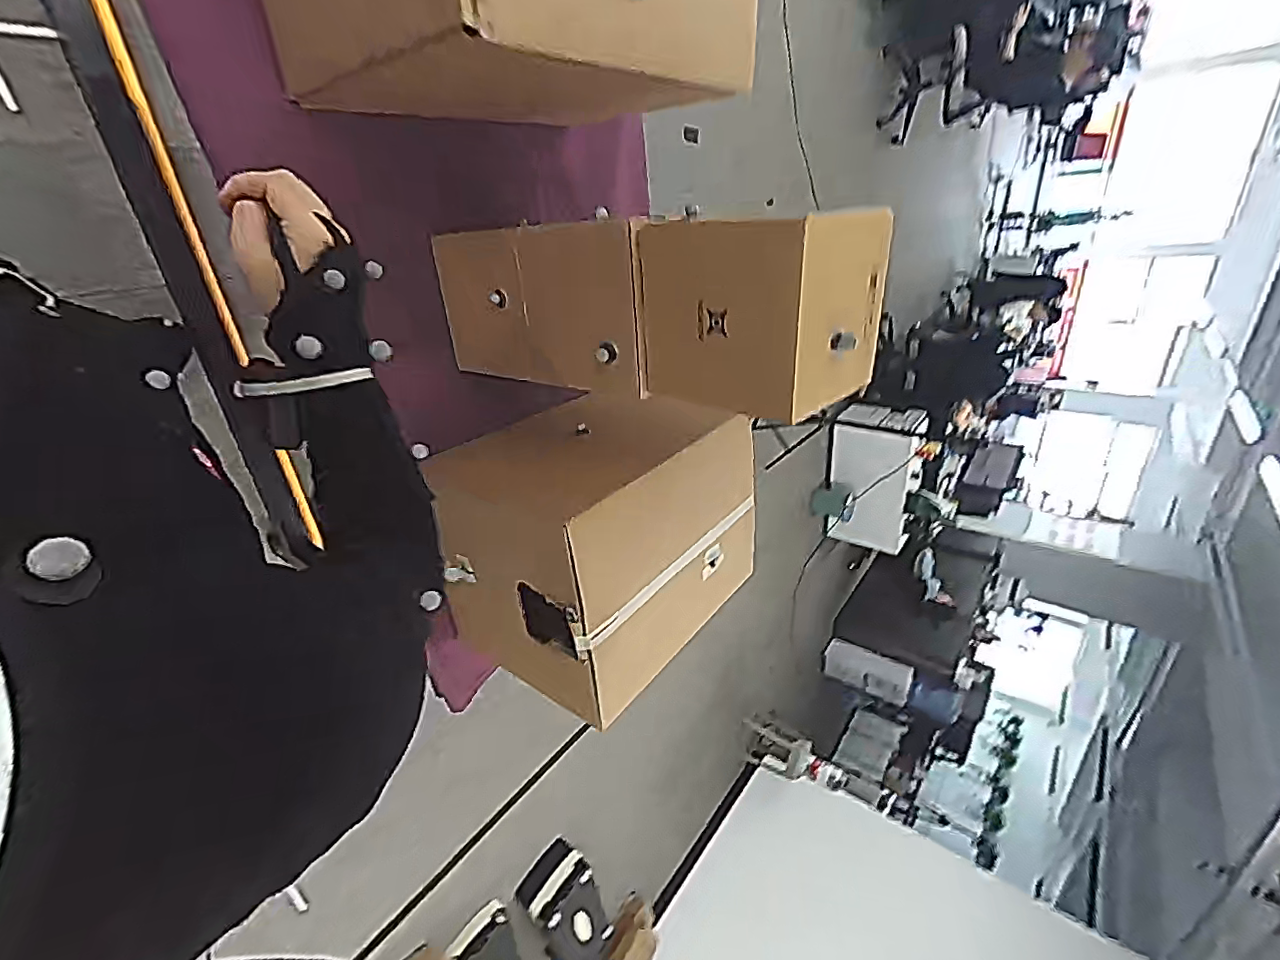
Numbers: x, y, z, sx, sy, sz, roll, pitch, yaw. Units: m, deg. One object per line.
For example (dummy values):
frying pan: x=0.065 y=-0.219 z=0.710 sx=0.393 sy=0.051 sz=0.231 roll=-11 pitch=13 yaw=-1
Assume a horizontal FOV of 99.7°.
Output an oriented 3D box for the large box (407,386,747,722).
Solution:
large box: x=-0.067 y=0.067 z=0.839 sx=0.408 sy=0.320 sz=0.320 roll=-34 pitch=129 yaw=-44
